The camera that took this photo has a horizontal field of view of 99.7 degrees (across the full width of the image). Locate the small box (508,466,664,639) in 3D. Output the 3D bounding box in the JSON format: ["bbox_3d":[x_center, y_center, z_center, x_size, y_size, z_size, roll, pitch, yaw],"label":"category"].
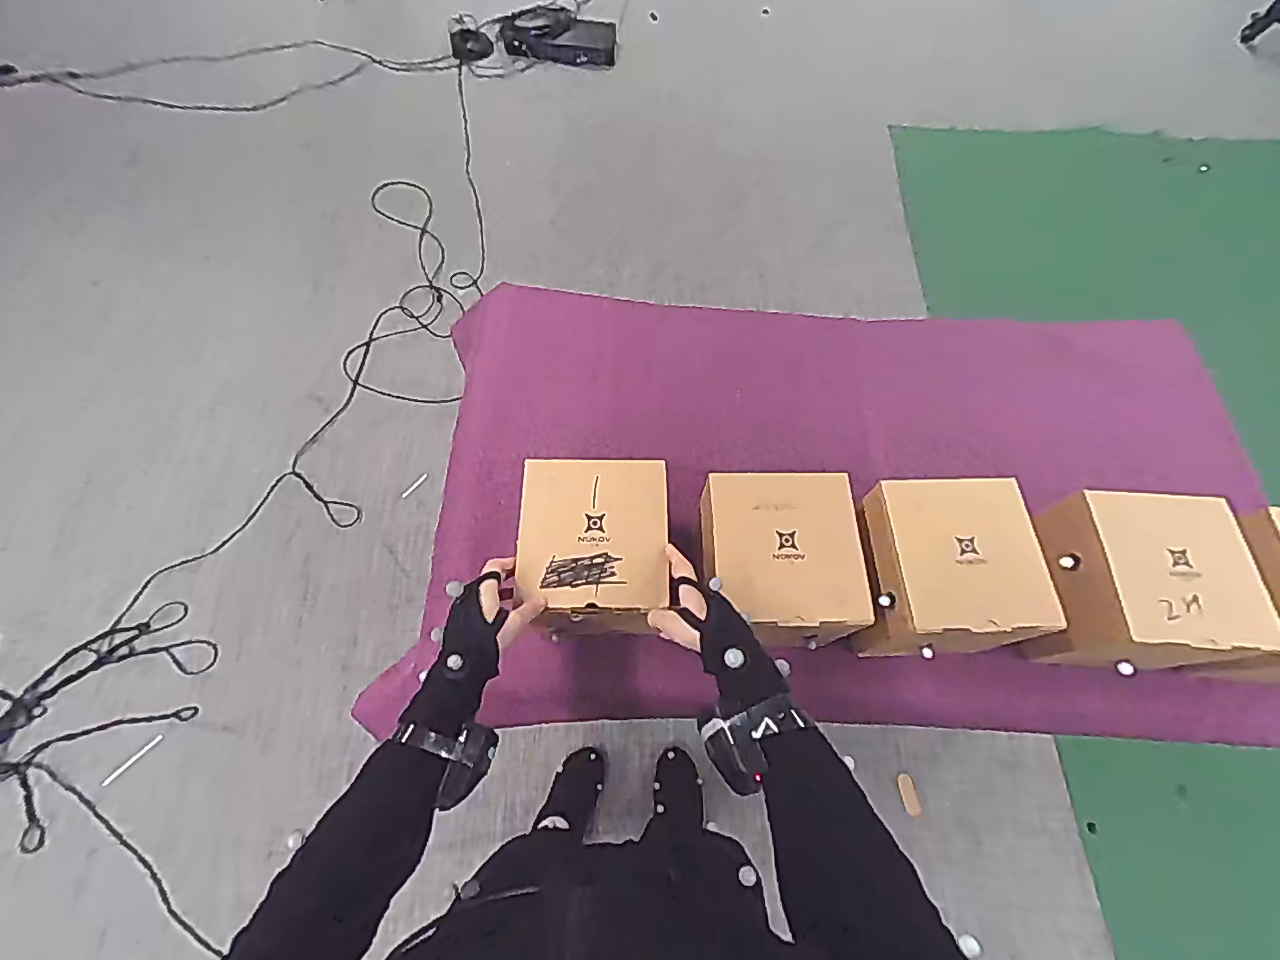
[{"bbox_3d":[-0.056,0.097,0.662,0.168,0.176,0.179,0,65,-1],"label":"small box"}]
